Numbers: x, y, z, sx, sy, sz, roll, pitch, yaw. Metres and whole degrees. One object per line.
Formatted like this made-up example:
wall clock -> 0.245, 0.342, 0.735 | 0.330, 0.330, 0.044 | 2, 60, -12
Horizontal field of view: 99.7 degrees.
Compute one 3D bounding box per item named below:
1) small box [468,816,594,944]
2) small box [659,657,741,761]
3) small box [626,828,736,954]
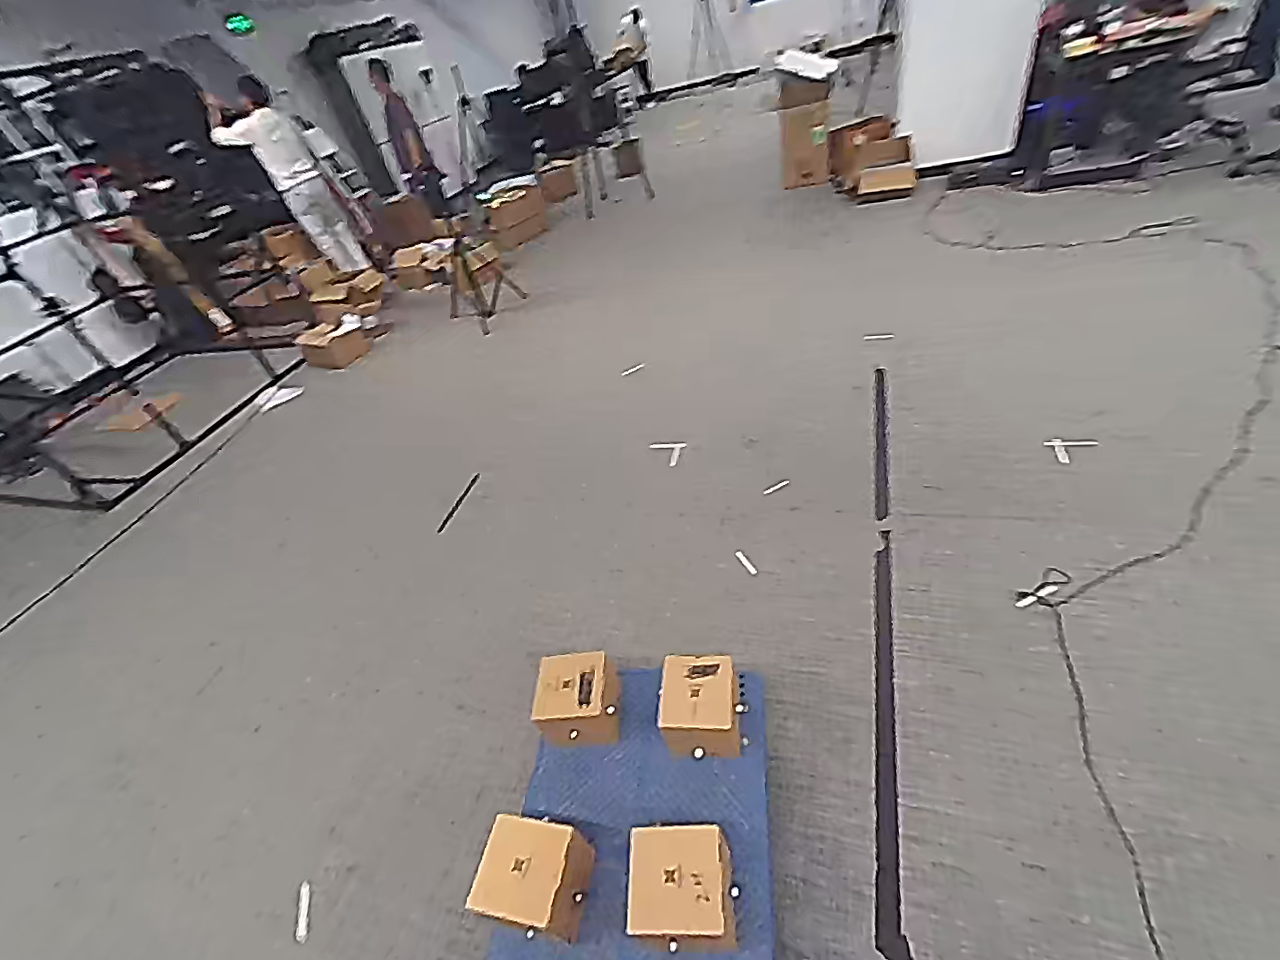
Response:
small box -> -0.214, 0.821, 1.110 | 0.179, 0.176, 0.168 | -1, 43, 16
small box -> 0.148, 0.545, 1.294 | 0.168, 0.176, 0.179 | -5, 43, 15
small box -> 0.083, 0.790, 1.039 | 0.179, 0.176, 0.168 | -8, 41, 11
